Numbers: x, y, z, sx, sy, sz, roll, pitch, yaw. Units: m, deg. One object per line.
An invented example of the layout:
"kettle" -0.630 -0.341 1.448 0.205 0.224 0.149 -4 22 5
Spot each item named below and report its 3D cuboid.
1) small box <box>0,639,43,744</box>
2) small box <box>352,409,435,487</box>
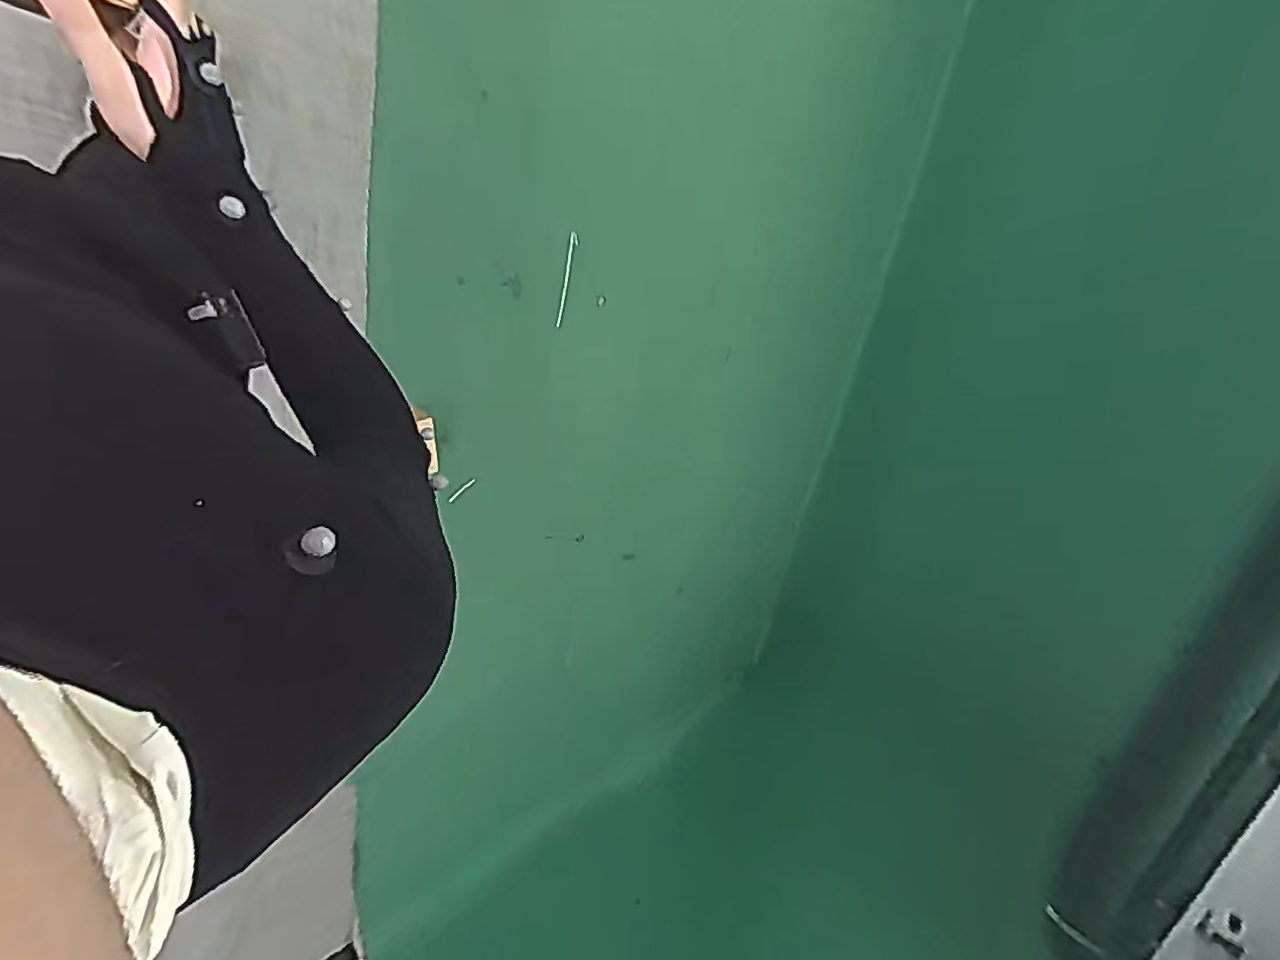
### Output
"small box" -1.426 0.455 1.146 0.179 0.176 0.168 -57 140 -8
"small box" -0.727 -0.102 1.590 0.168 0.176 0.179 -19 124 -40
